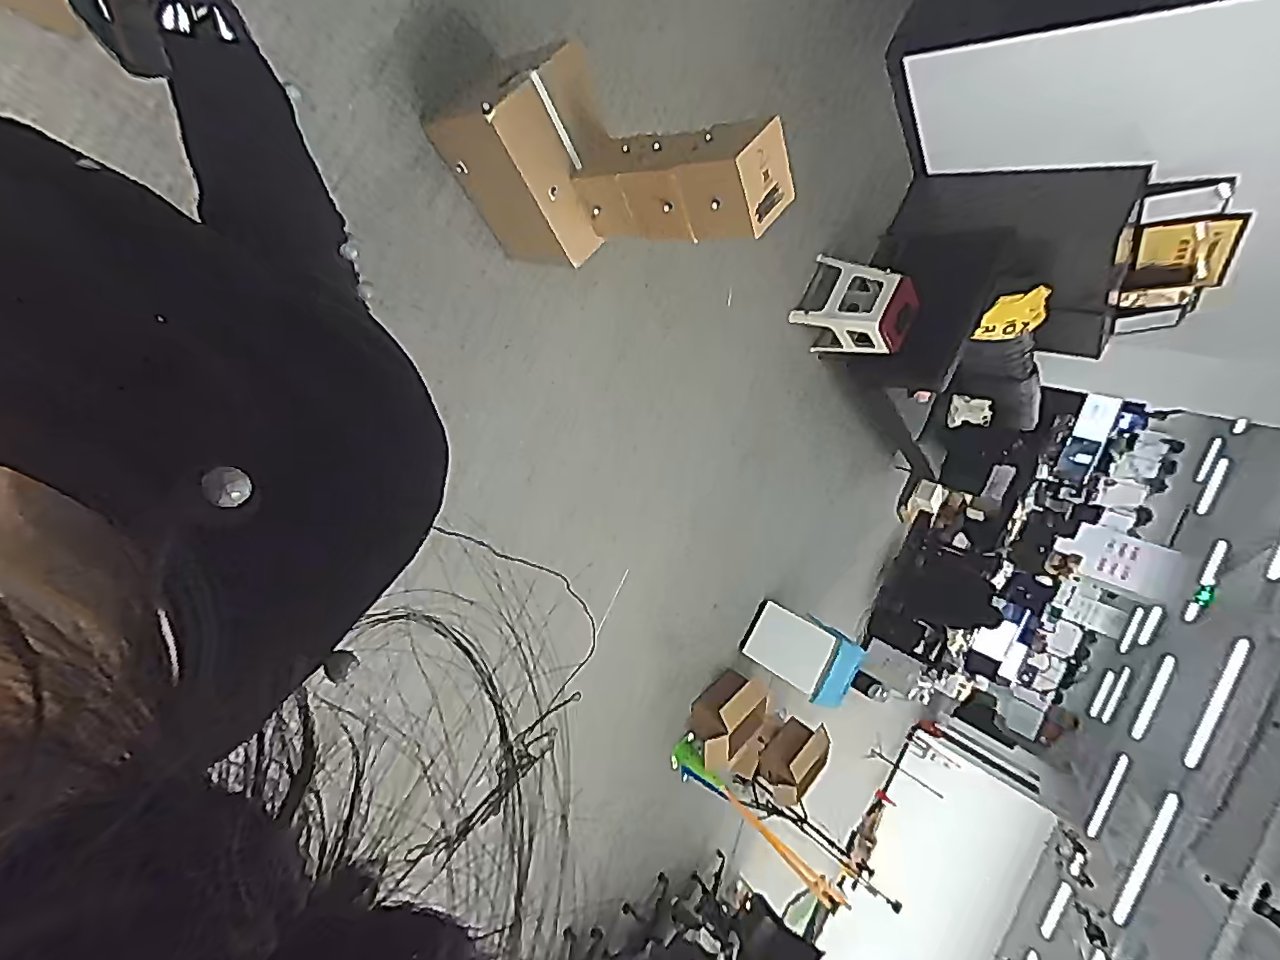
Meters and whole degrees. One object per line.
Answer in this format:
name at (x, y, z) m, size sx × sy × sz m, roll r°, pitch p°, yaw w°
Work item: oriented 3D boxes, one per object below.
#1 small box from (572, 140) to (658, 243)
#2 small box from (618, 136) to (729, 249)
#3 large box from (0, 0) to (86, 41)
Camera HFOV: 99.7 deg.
small box at (-0.040, -0.729, 1.372) m, size 0.179 × 0.176 × 0.168 m, roll -52°, pitch 138°, yaw -18°
small box at (0.079, -0.675, 1.276) m, size 0.168 × 0.176 × 0.179 m, roll -51°, pitch 138°, yaw -19°
large box at (-0.966, -0.863, 0.673) m, size 0.408 × 0.320 × 0.320 m, roll 8°, pitch 102°, yaw -48°
